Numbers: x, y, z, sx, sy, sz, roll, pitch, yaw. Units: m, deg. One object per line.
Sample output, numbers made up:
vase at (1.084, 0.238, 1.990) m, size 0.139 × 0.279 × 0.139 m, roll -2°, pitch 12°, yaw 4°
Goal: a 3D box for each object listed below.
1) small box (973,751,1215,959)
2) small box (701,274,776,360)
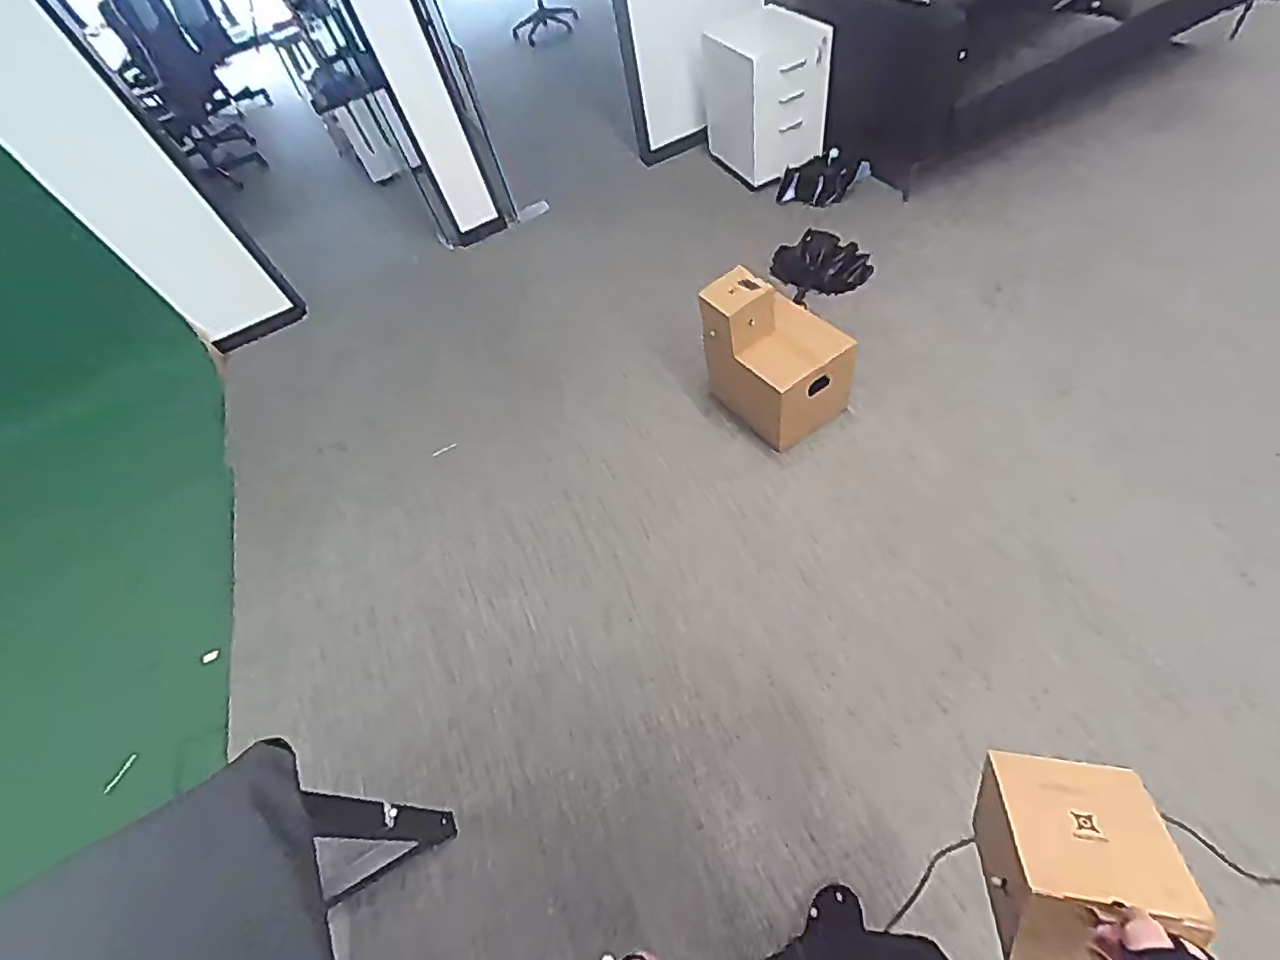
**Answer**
small box at (0.534, 0.478, 0.669) m, size 0.168 × 0.176 × 0.179 m, roll 1°, pitch 28°, yaw 17°
small box at (0.322, -0.525, 1.750) m, size 0.179 × 0.176 × 0.168 m, roll -35°, pitch 54°, yaw -7°
